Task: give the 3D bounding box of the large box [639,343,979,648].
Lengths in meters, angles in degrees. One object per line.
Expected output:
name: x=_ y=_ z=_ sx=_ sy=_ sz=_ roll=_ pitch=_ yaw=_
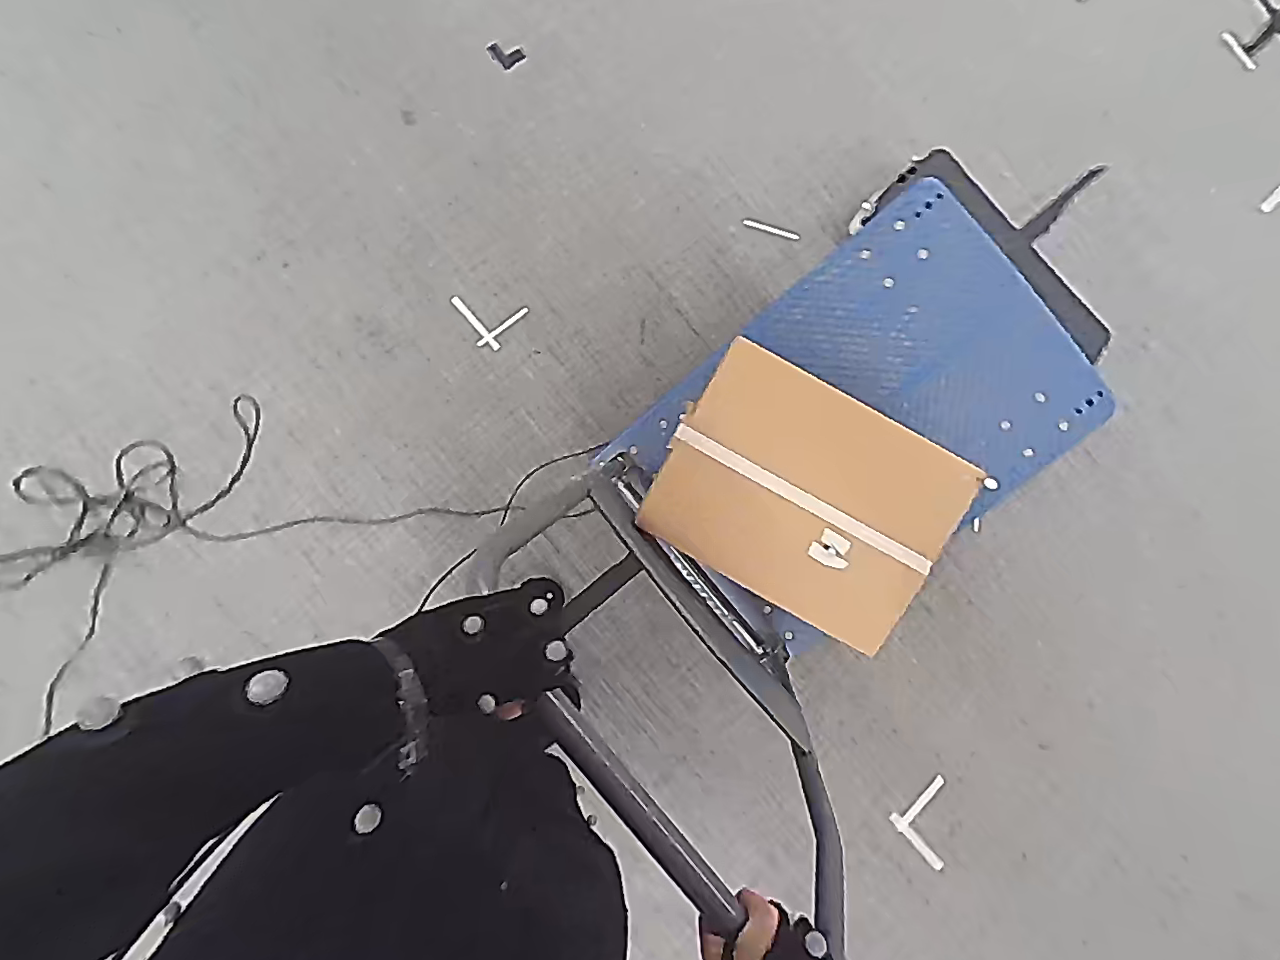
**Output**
large box: x=0.246 y=0.012 z=0.932 sx=0.408 sy=0.320 sz=0.320 roll=29 pitch=97 yaw=0
